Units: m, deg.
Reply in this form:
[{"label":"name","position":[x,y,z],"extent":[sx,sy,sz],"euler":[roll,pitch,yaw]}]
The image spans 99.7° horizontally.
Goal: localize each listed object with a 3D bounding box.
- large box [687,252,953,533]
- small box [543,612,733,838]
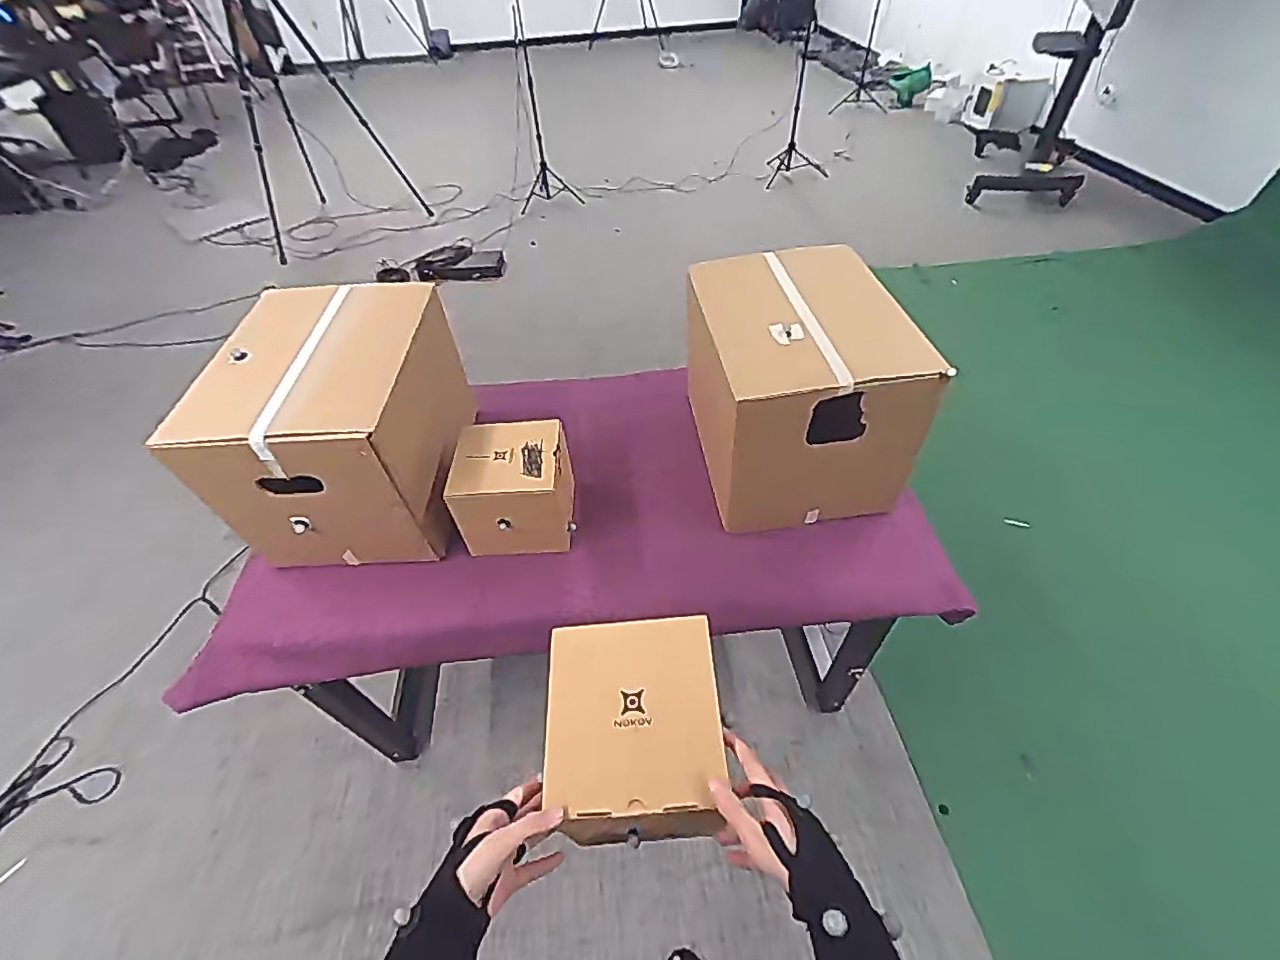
[{"label":"large box","position":[0.273,-0.166,0.993],"extent":[0.320,0.320,0.408],"euler":[-8,48,-1]},{"label":"small box","position":[0.000,0.262,0.574],"extent":[0.168,0.176,0.179],"euler":[-6,50,2]}]
